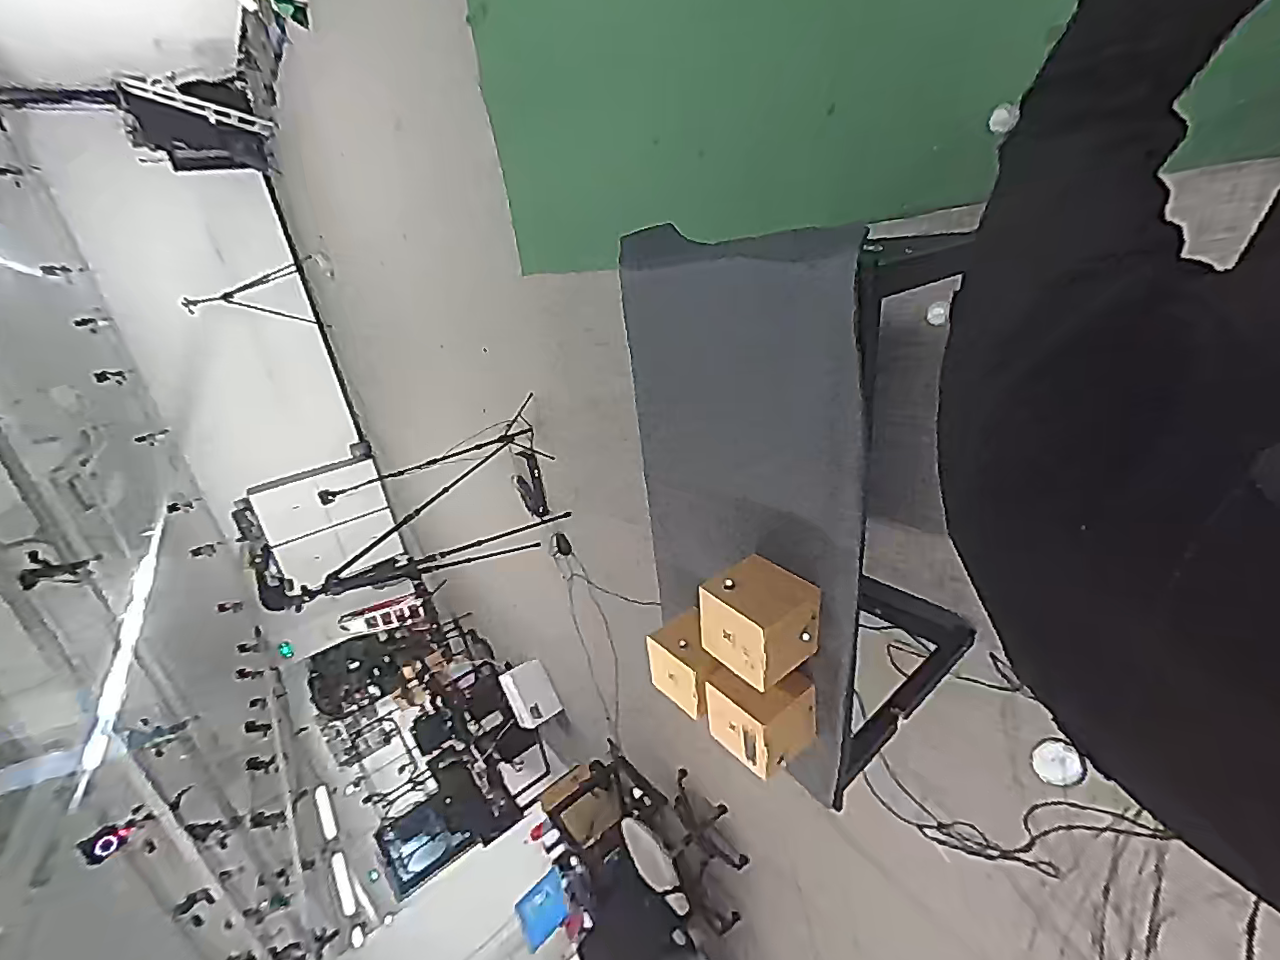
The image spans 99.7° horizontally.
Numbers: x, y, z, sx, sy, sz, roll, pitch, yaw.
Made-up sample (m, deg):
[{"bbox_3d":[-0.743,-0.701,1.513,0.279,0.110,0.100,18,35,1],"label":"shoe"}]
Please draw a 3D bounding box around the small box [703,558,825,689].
[{"bbox_3d":[0.251,0.281,1.111,0.179,0.176,0.168,26,130,47],"label":"small box"}]

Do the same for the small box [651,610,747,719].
[{"bbox_3d":[0.152,0.457,1.375,0.179,0.176,0.168,22,128,47],"label":"small box"}]
